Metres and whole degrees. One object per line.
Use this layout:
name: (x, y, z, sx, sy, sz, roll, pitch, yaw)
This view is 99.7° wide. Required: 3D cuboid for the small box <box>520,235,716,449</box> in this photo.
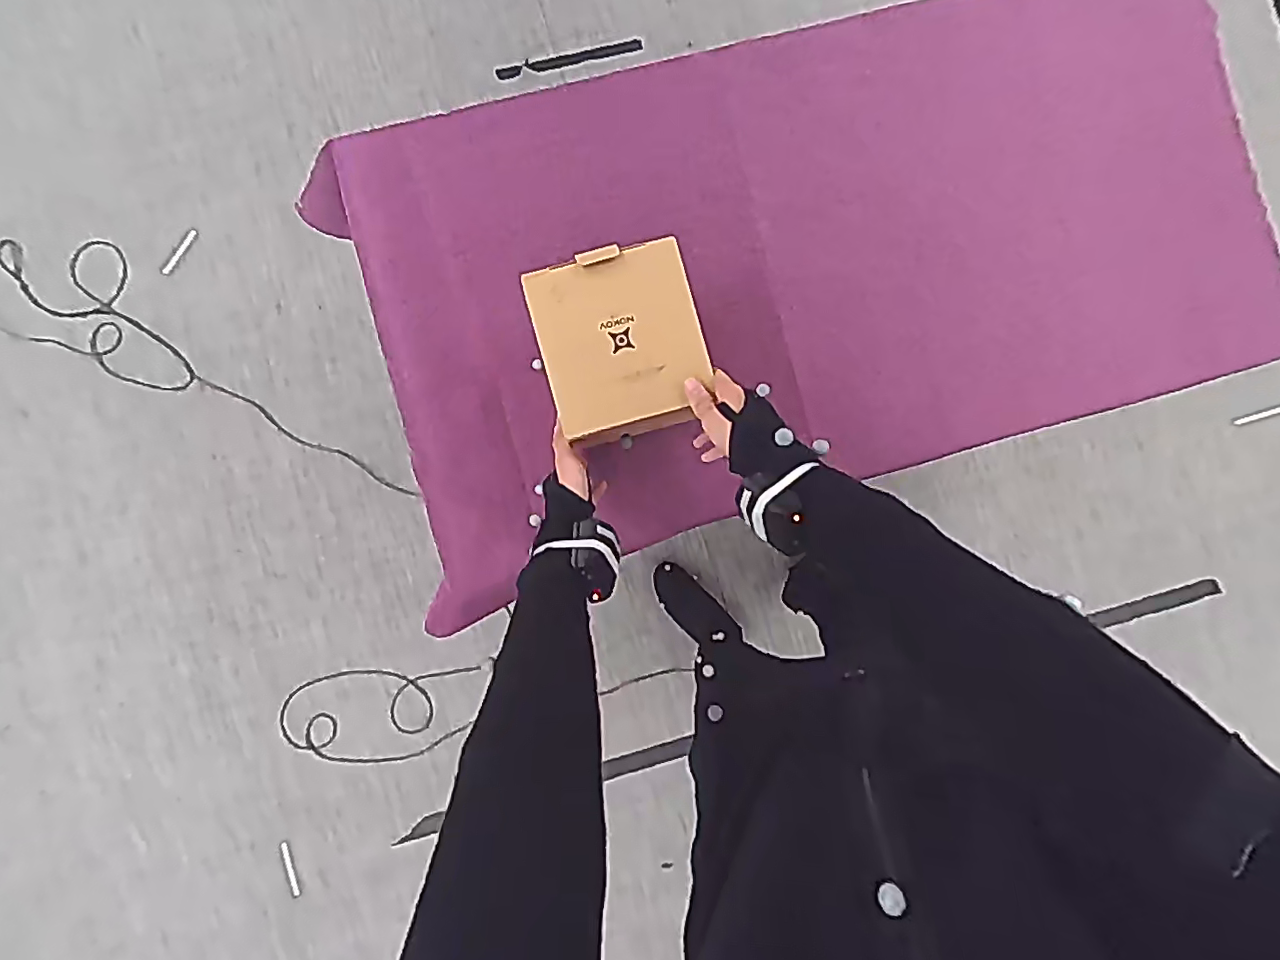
small box: (-0.026, -0.143, 0.619, 0.168, 0.176, 0.179, -15, 90, -2)
